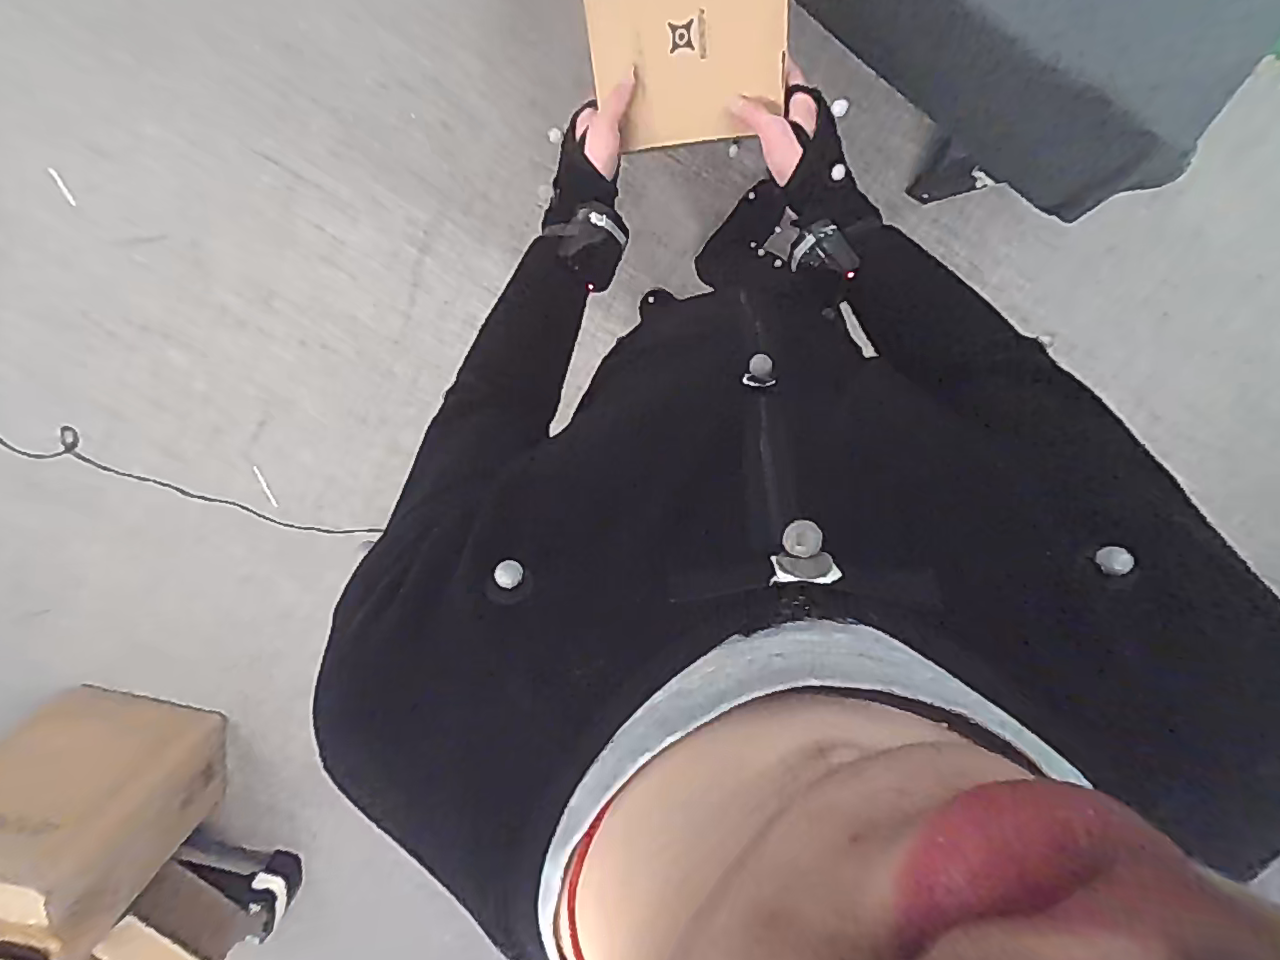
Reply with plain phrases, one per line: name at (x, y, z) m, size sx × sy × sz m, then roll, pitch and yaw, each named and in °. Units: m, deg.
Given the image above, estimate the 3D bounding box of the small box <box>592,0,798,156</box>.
small box at (0.055, -0.428, 0.538) m, size 0.179 × 0.176 × 0.168 m, roll -3°, pitch 119°, yaw 8°
